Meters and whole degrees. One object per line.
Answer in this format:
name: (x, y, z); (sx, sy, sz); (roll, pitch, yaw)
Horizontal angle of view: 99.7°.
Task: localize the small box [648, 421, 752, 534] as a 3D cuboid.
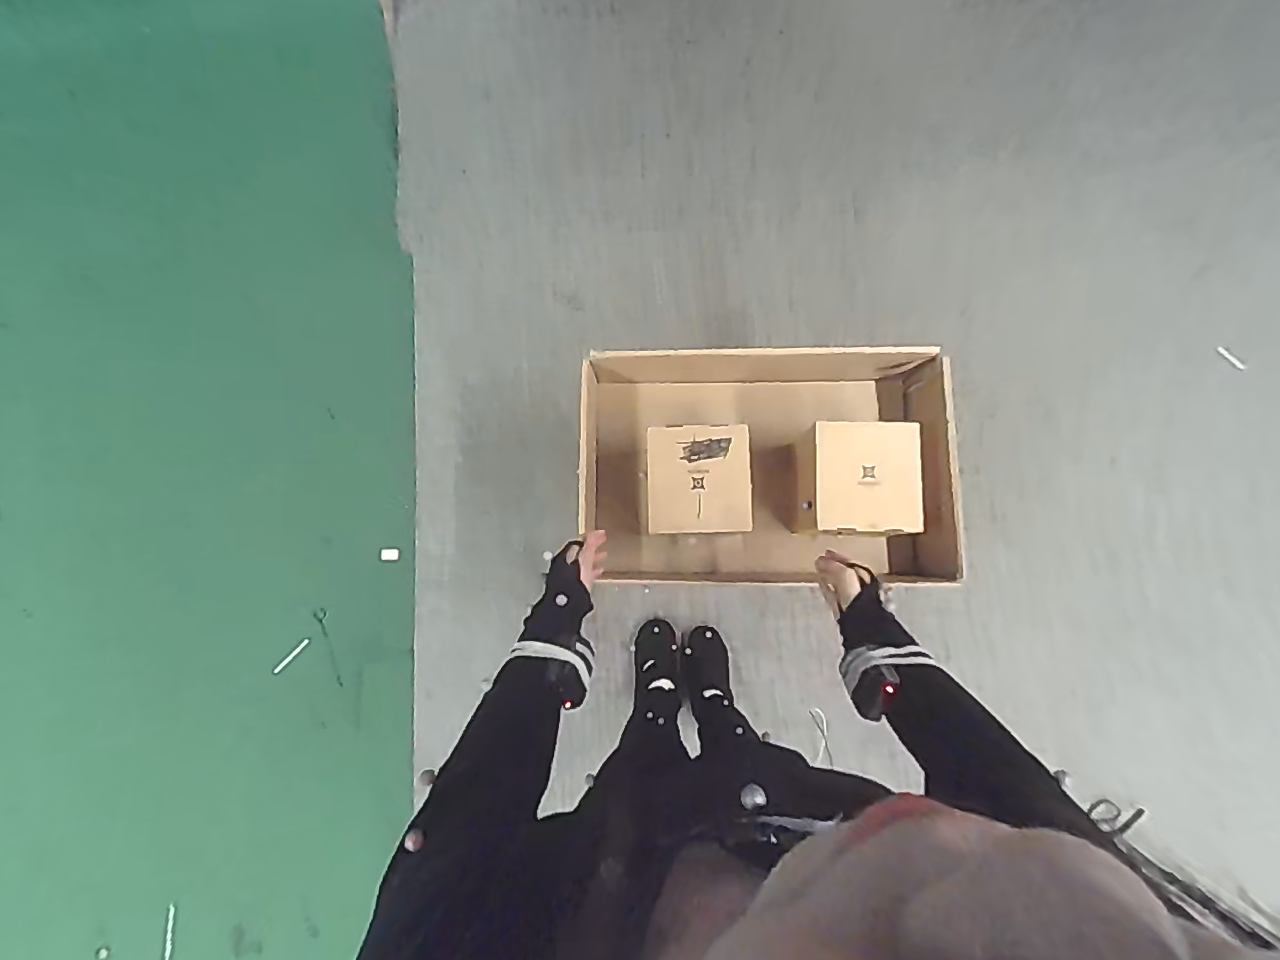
small box: (0.096, 0.002, 0.937); (0.168, 0.176, 0.179); (-1, 83, 3)
